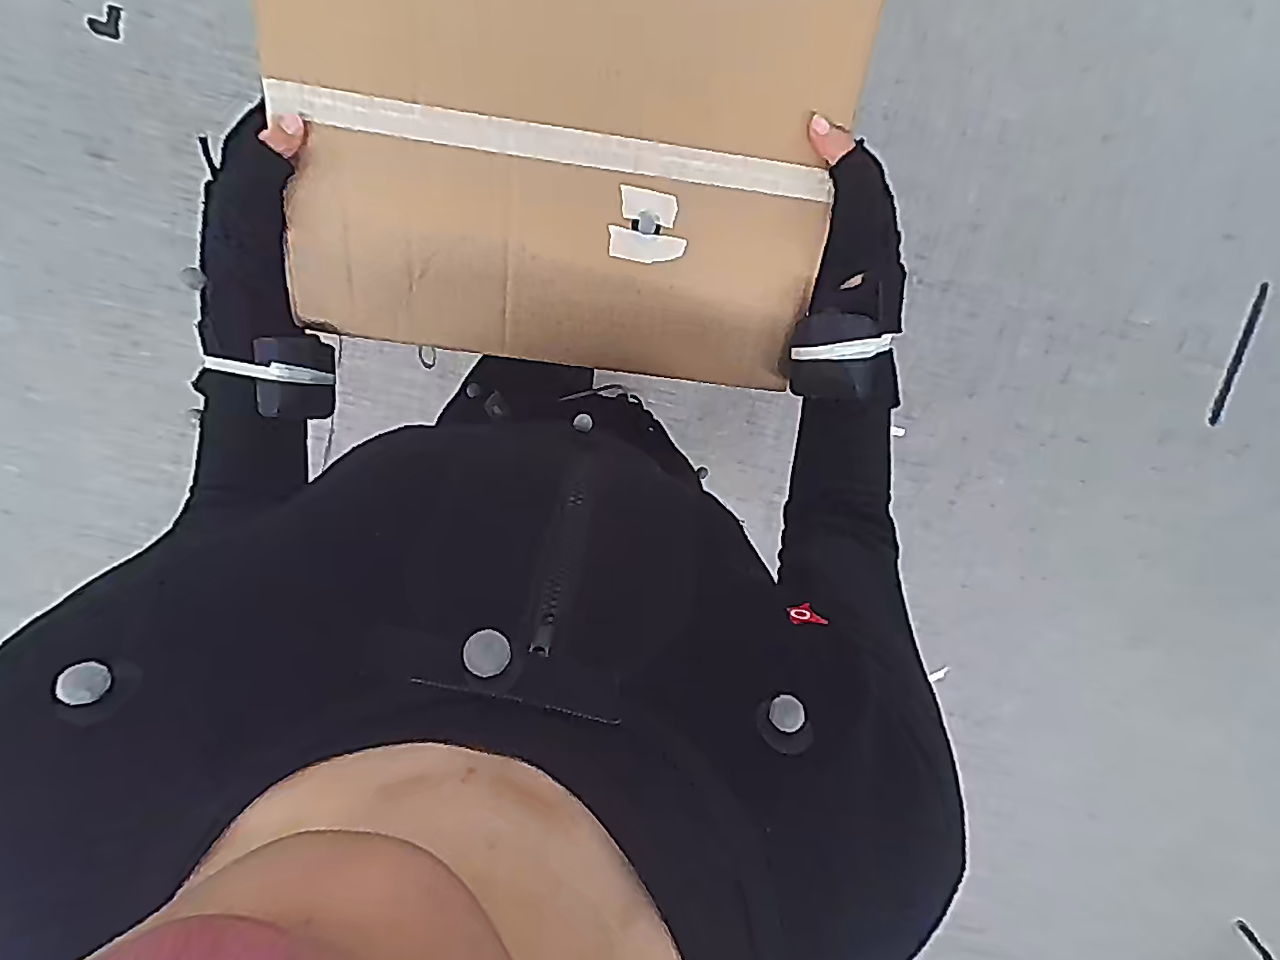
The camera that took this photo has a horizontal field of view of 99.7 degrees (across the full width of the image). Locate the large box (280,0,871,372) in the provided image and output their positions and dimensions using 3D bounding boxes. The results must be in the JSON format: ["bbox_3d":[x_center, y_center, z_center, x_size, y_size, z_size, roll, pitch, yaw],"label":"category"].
[{"bbox_3d":[-0.060,-0.312,0.534,0.408,0.320,0.320,6,115,-6],"label":"large box"}]
